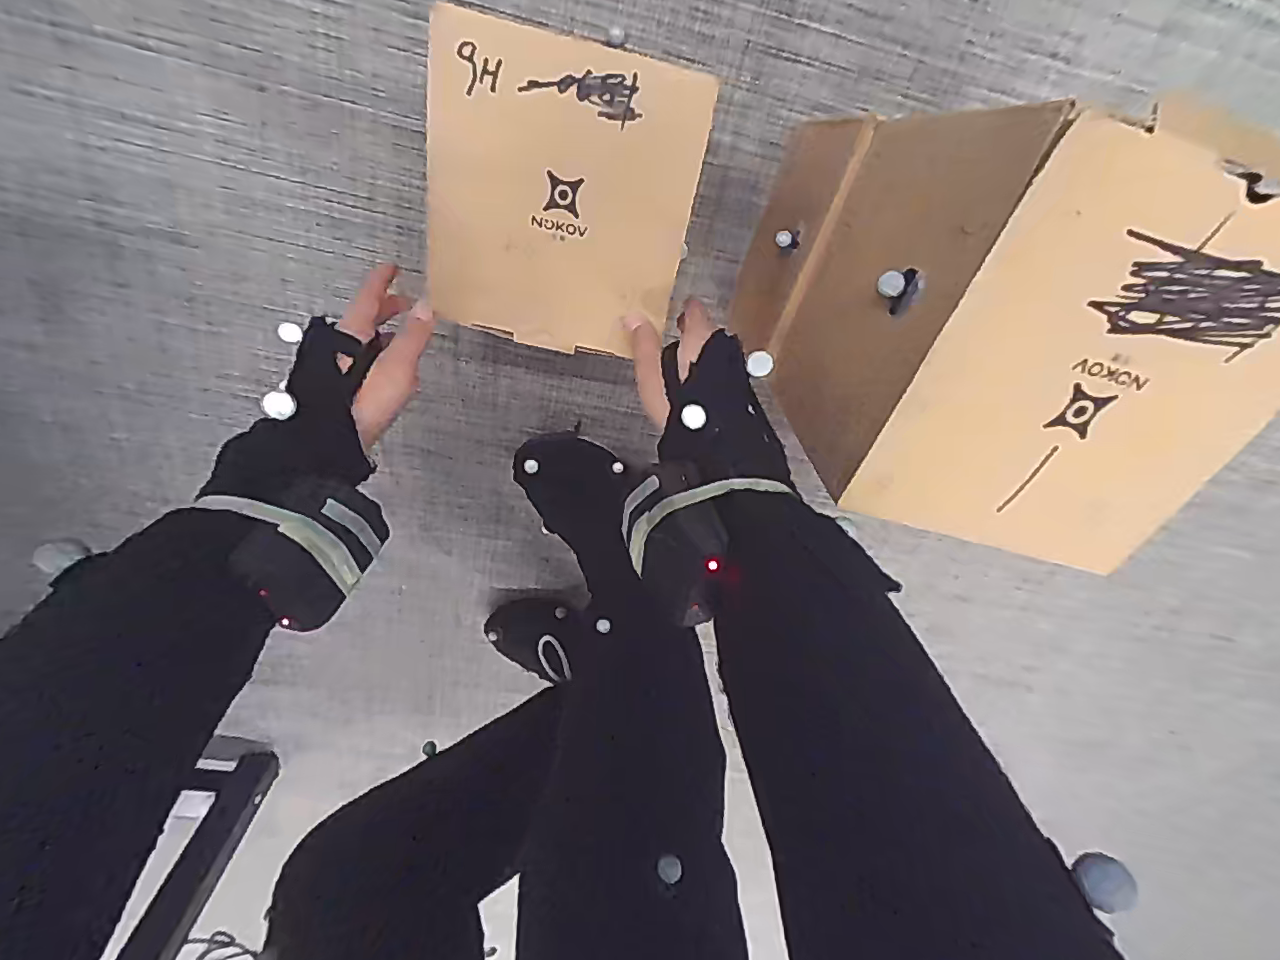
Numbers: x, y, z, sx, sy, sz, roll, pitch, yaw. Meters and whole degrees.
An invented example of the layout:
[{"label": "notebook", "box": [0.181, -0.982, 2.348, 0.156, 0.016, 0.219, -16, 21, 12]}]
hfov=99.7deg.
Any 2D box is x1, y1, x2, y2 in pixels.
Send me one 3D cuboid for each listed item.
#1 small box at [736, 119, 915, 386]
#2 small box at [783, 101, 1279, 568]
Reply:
[{"label": "small box", "box": [0.192, -0.170, 0.449, 0.168, 0.176, 0.179, 14, 121, -9]}, {"label": "small box", "box": [0.201, -0.083, 0.310, 0.168, 0.176, 0.179, 14, 120, -8]}]
